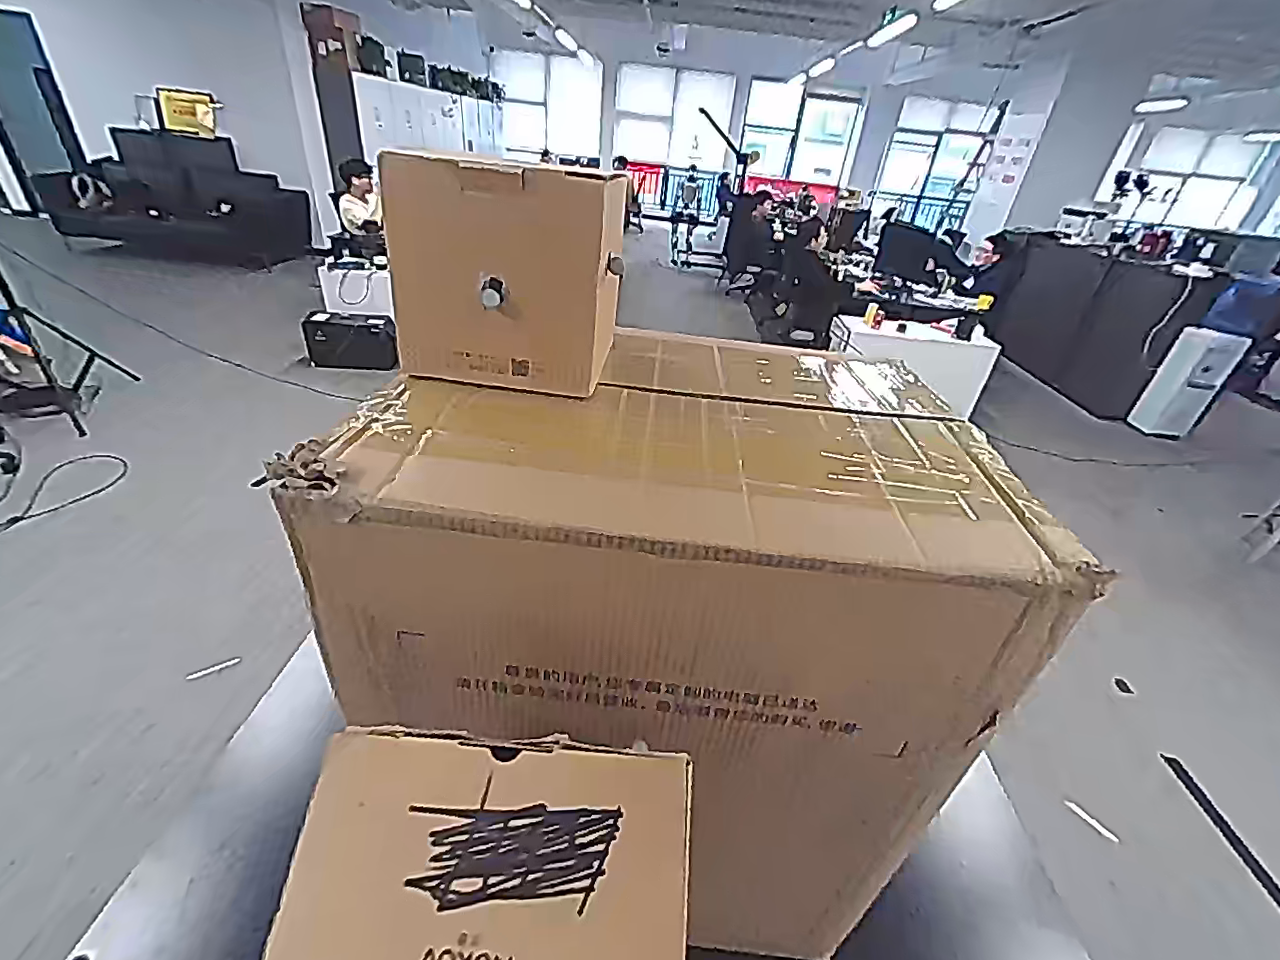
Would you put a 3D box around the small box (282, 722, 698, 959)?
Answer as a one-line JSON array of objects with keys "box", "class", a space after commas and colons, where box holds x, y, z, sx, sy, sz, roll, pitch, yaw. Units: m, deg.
[{"box": [-0.059, 0.236, 0.280, 0.168, 0.176, 0.179, 2, 60, 5], "class": "small box"}]

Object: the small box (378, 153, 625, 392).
[{"box": [-0.108, -0.192, 0.495, 0.168, 0.176, 0.179, 7, 31, 0], "class": "small box"}]
